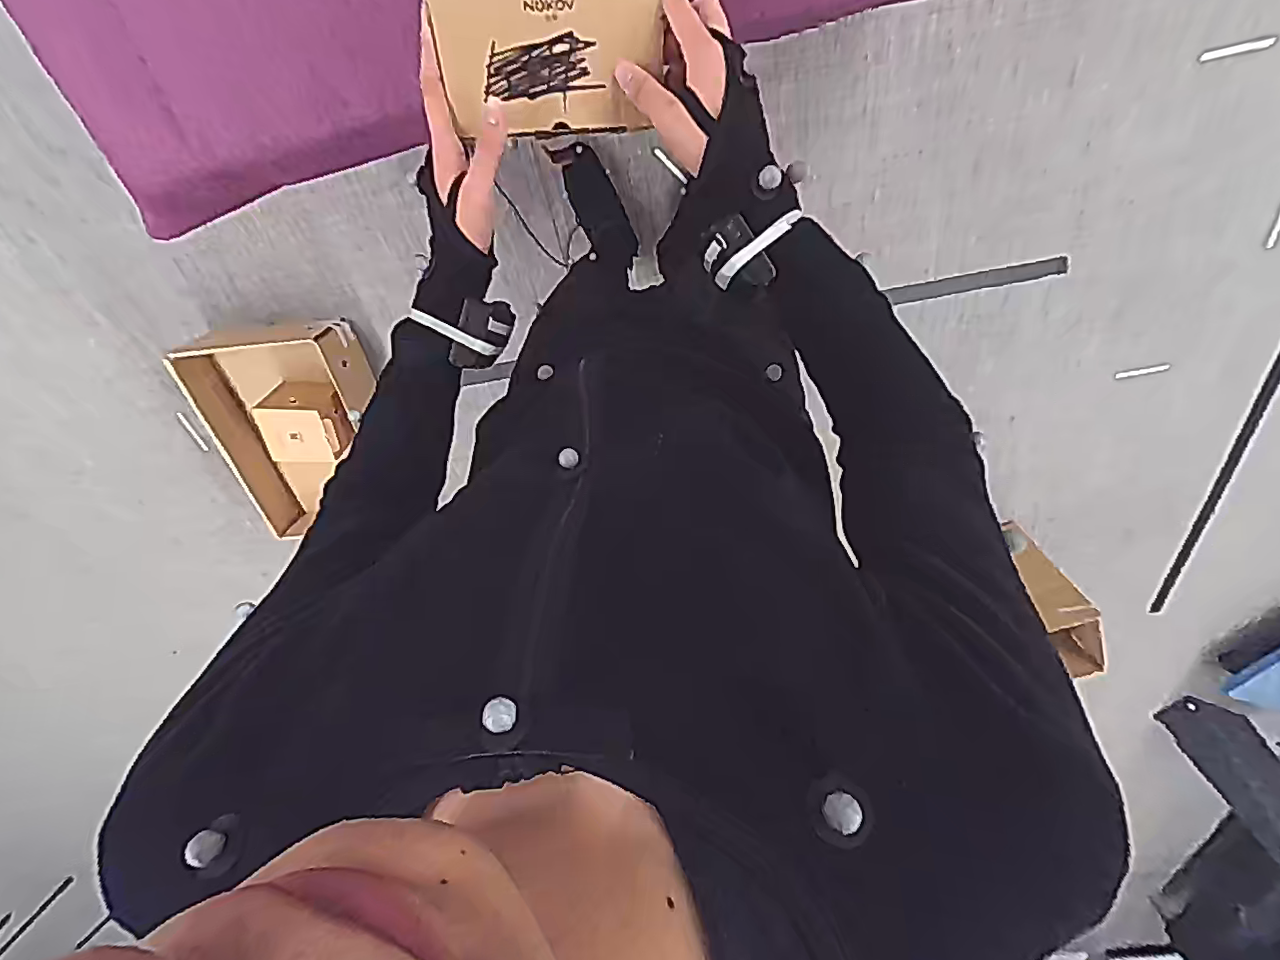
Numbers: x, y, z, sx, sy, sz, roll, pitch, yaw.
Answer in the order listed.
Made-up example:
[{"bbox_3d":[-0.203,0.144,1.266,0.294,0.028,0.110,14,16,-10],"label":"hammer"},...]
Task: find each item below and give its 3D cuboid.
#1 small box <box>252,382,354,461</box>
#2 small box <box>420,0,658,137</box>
[{"bbox_3d":[-0.928,-0.167,1.513,0.179,0.176,0.168,1,125,-3],"label":"small box"},{"bbox_3d":[-0.078,-0.385,0.432,0.168,0.176,0.179,-7,124,-5],"label":"small box"}]
